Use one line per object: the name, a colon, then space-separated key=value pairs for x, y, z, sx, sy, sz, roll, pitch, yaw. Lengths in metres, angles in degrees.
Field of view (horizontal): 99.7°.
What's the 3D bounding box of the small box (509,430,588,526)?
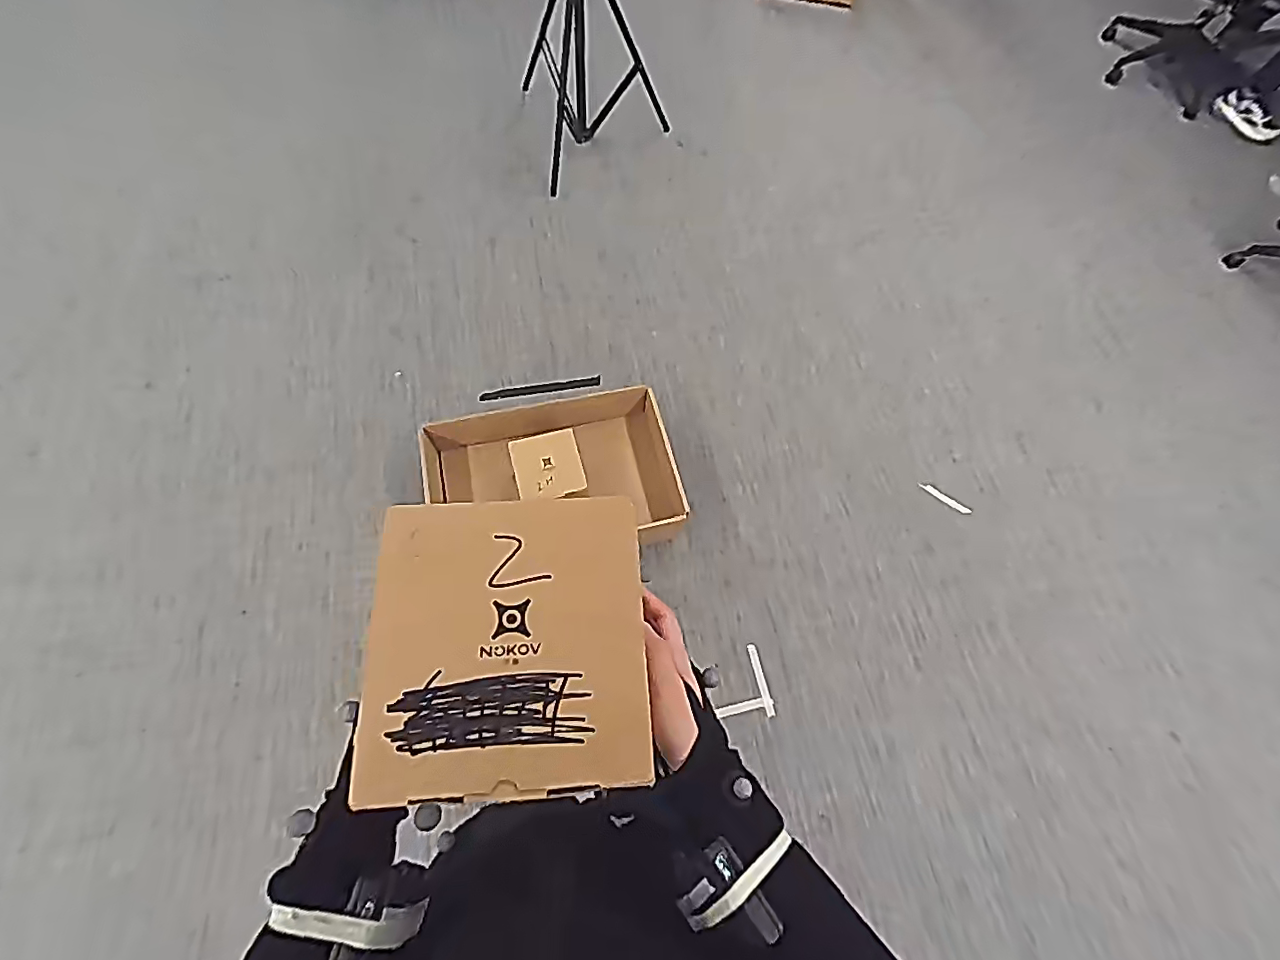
small box: x=-0.235 y=-0.002 z=1.400 sx=0.168 sy=0.176 sz=0.179 roll=-14 pitch=69 yaw=-10
